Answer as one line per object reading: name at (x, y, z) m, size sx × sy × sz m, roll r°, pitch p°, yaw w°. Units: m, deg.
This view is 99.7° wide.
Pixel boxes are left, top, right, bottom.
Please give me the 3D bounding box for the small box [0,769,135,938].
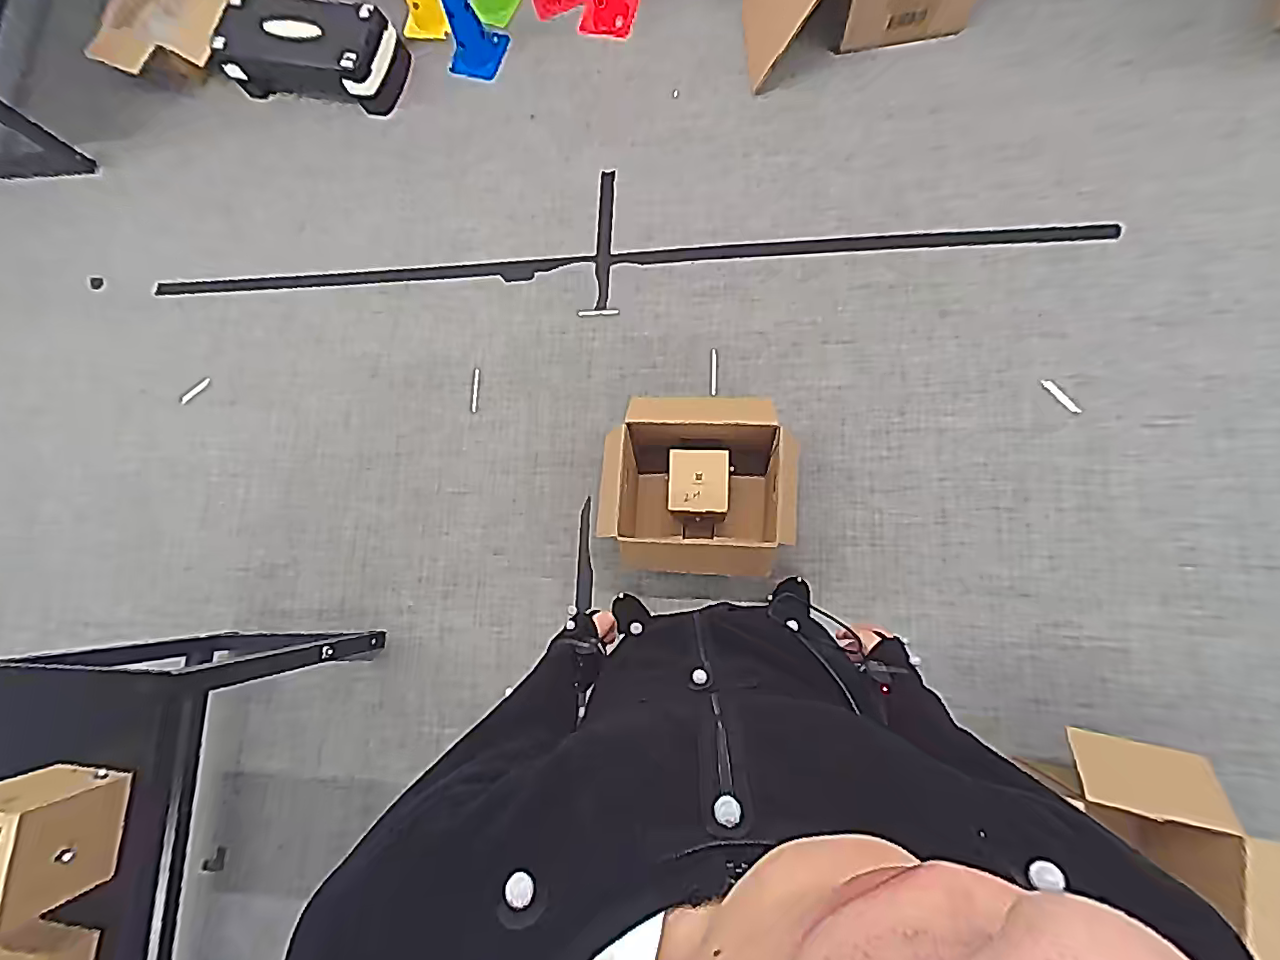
small box at (-1.017, 0.613, 0.914) m, size 0.168 × 0.176 × 0.179 m, roll 2°, pitch 82°, yaw 9°
